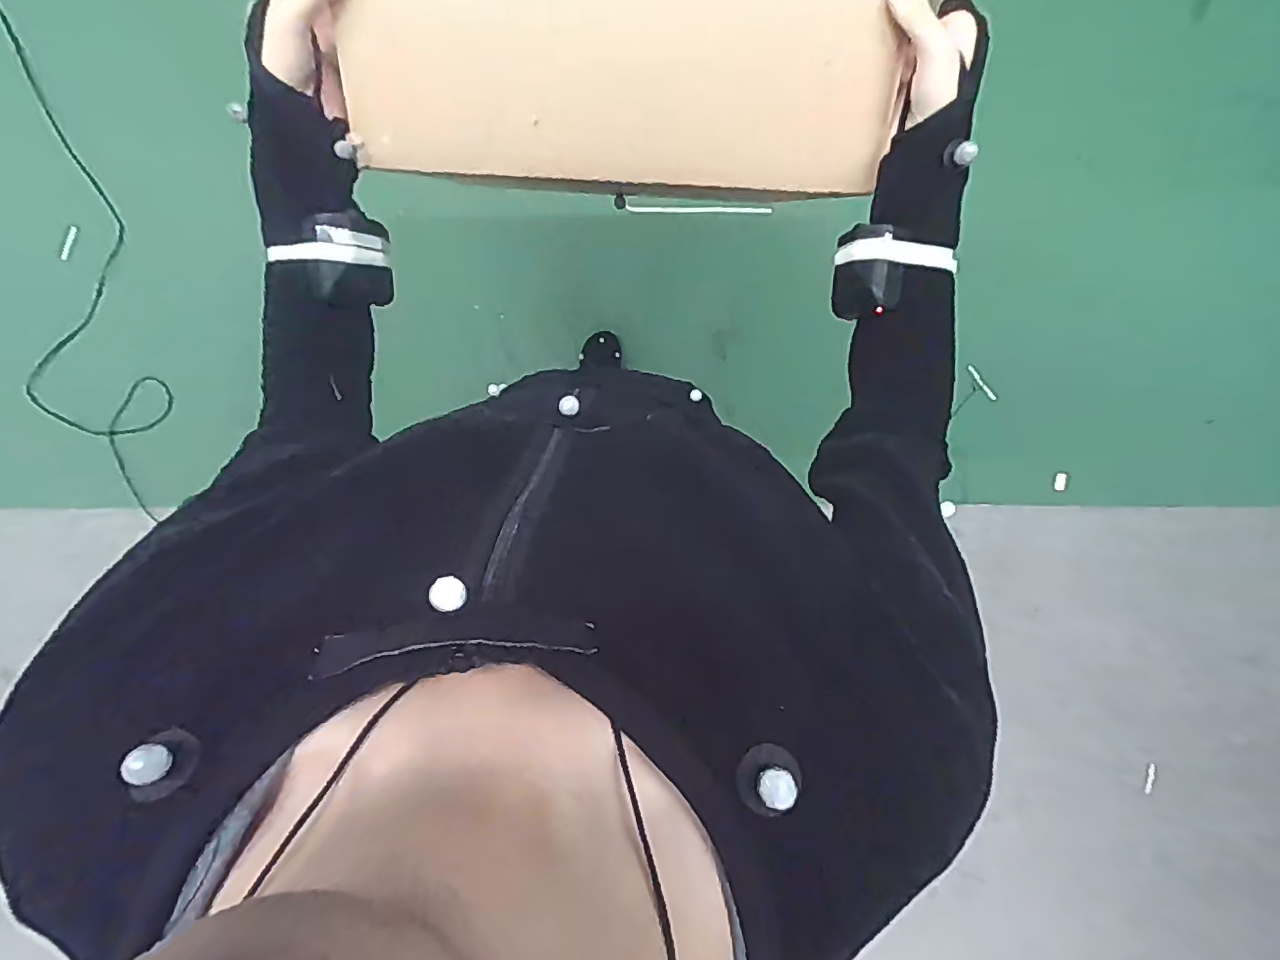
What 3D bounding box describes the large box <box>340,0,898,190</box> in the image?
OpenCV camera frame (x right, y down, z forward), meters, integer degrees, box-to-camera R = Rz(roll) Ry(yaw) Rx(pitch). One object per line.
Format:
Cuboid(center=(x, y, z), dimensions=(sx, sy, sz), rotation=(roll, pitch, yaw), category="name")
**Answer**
Cuboid(center=(-0.014, -0.447, 0.498), dimensions=(0.408, 0.320, 0.320), rotation=(1, 116, -3), category="large box")
